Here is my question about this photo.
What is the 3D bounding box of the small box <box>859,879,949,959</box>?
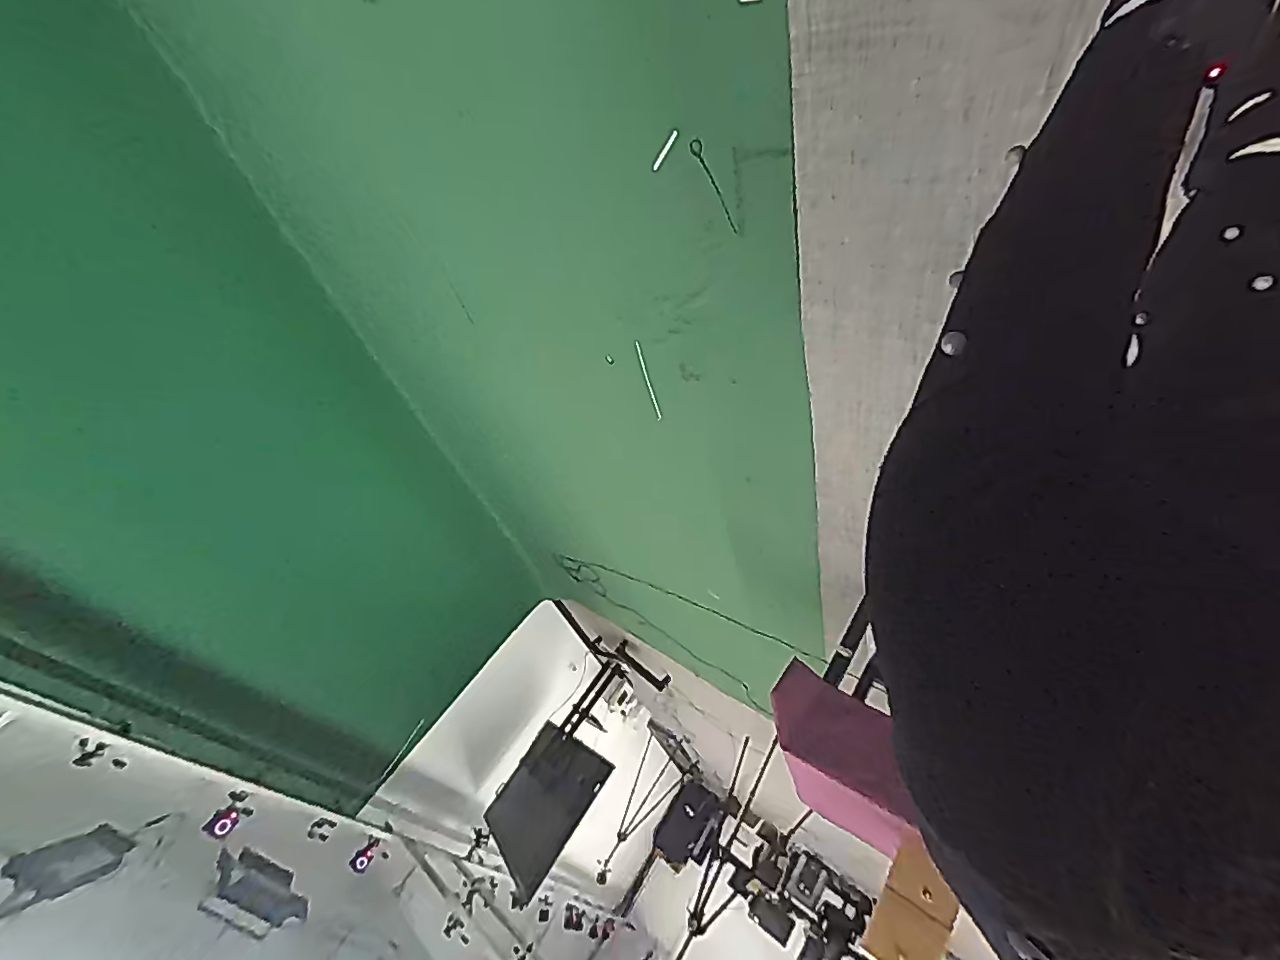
[{"bbox_3d":[0.727,1.243,1.495,0.179,0.176,0.168,19,147,36],"label":"small box"}]

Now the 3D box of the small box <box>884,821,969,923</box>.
[{"bbox_3d":[0.825,1.131,1.563,0.179,0.176,0.168,21,148,36],"label":"small box"}]
